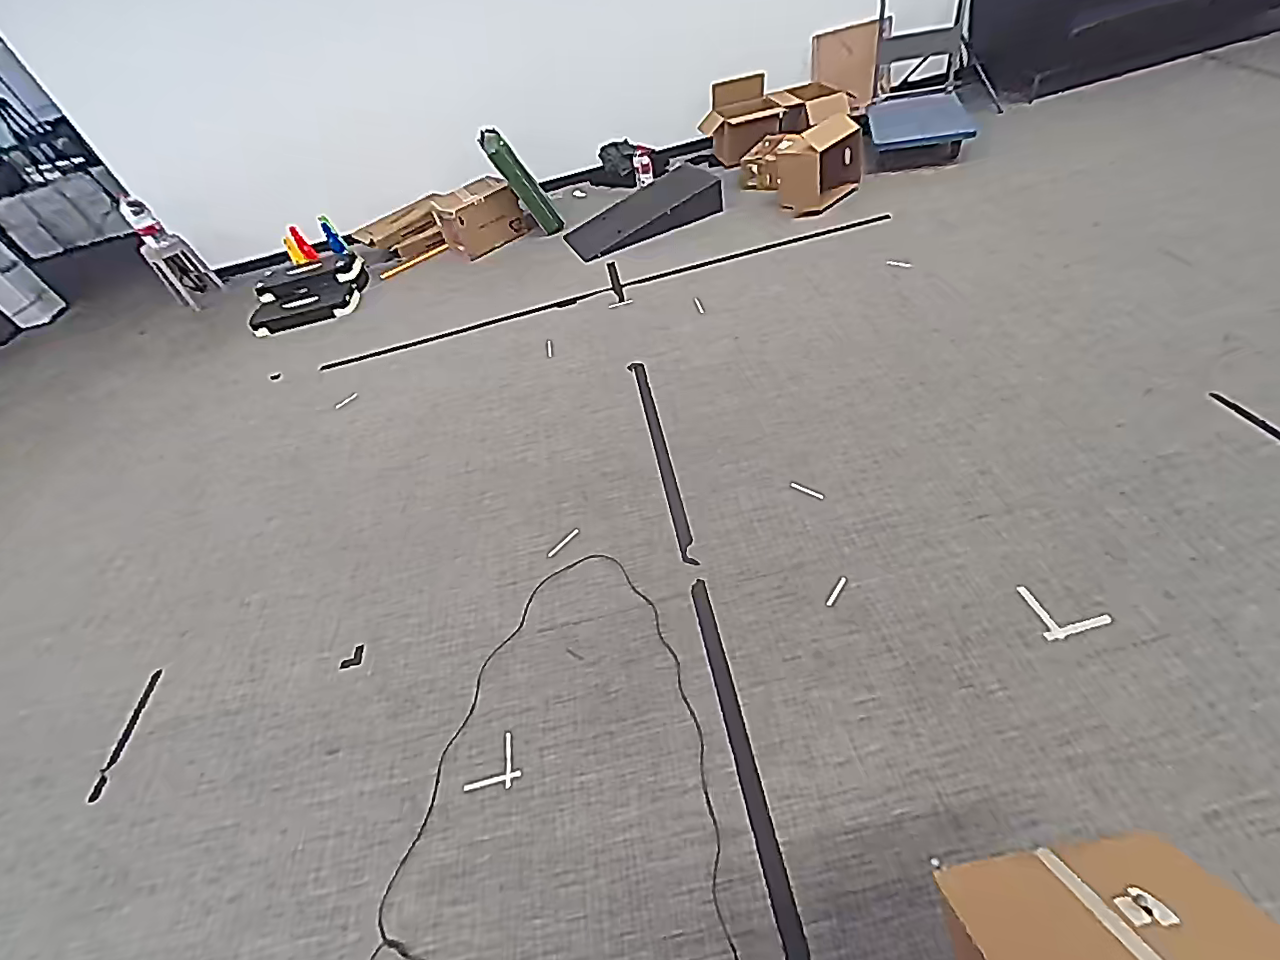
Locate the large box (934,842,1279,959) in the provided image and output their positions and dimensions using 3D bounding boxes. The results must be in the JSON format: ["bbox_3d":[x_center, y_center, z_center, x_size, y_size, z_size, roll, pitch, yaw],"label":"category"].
[{"bbox_3d":[0.600,0.688,0.582,0.320,0.408,0.320,-13,84,5],"label":"large box"}]
